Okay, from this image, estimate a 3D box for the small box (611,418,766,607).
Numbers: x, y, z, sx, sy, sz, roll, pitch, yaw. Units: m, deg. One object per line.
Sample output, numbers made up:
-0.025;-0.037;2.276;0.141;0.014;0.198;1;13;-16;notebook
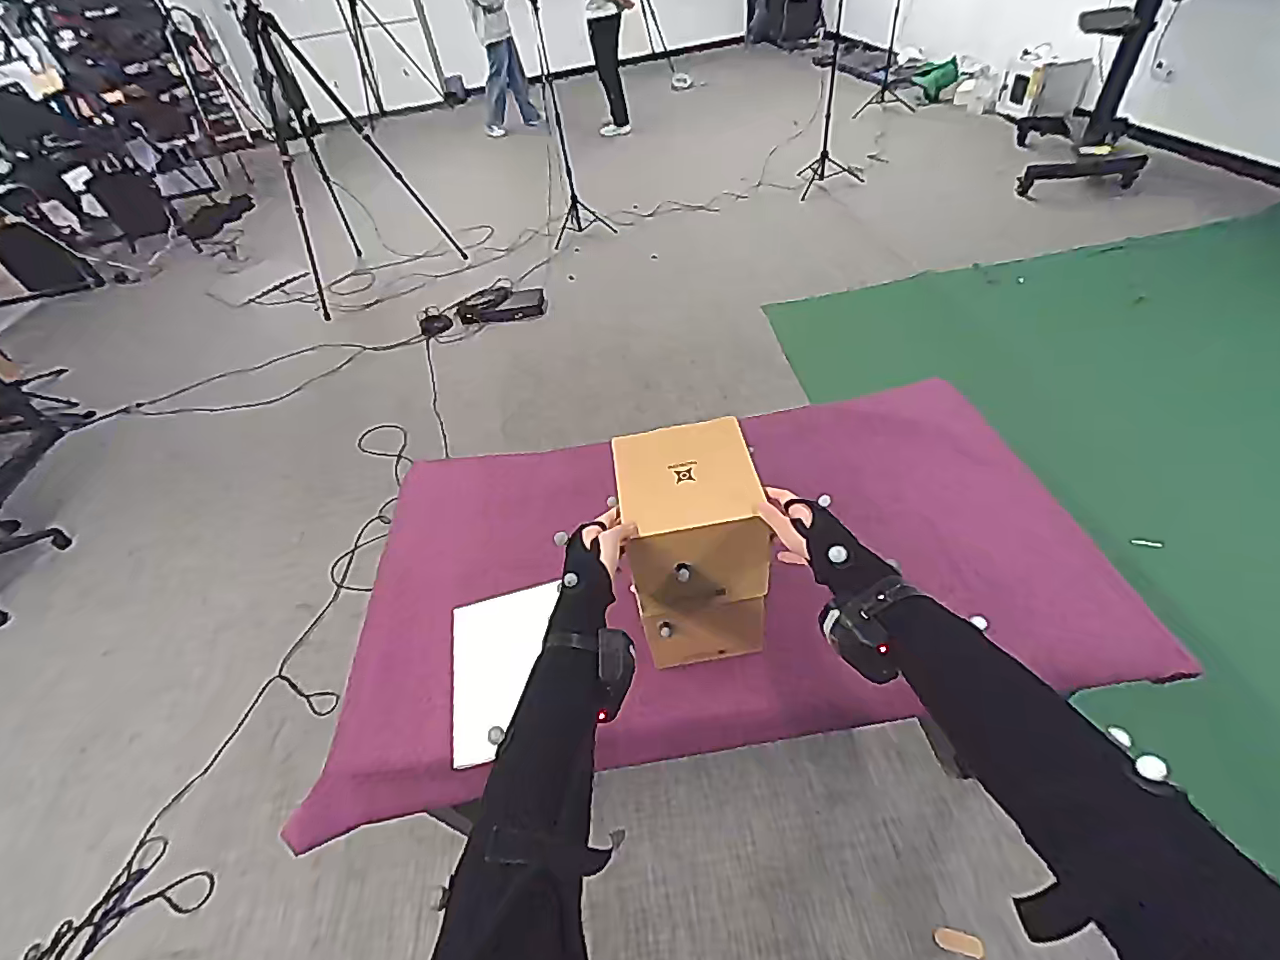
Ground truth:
0.062;0.049;0.701;0.168;0.176;0.179;-10;45;1;small box
